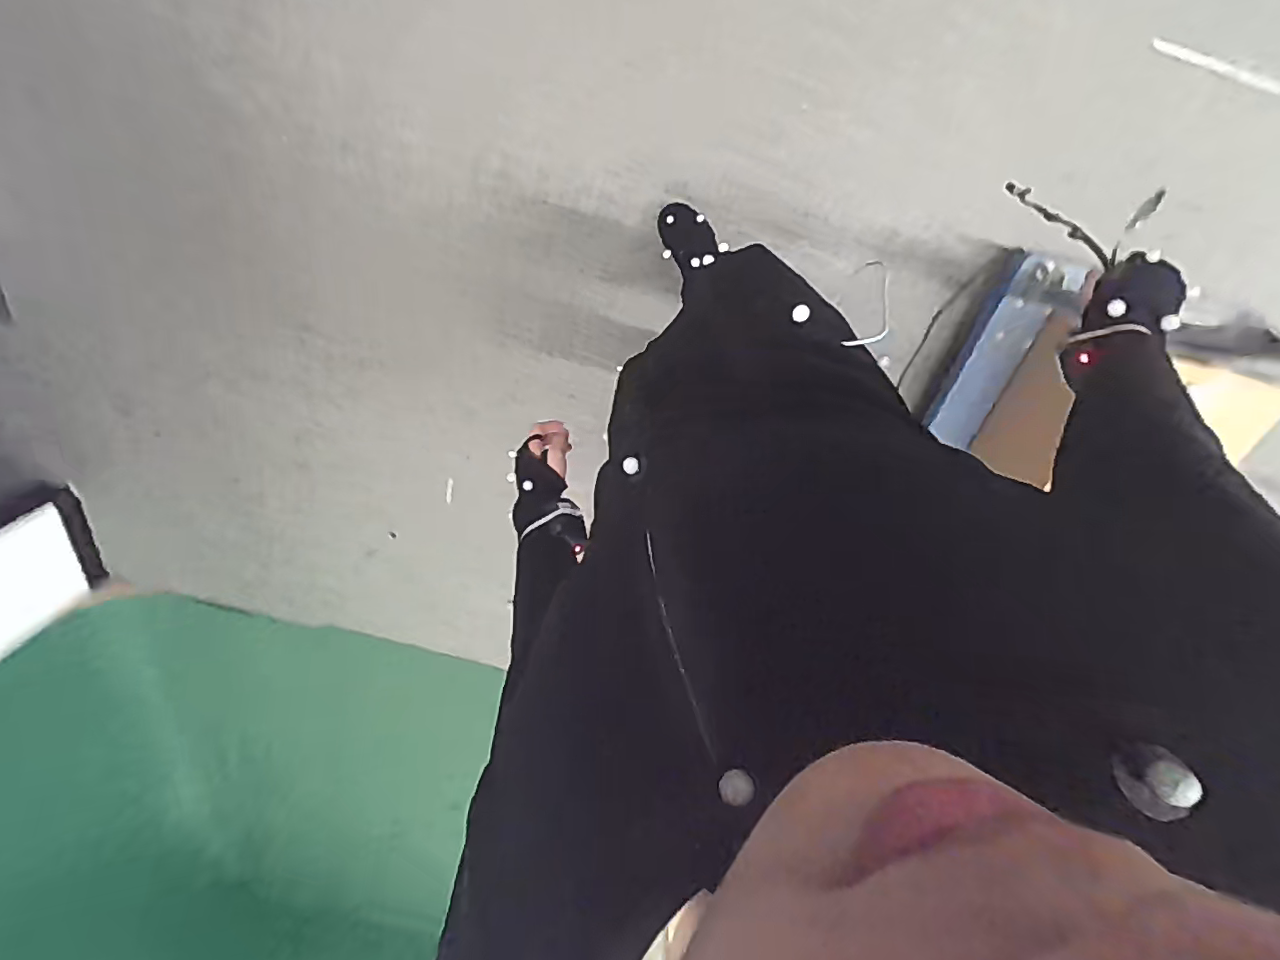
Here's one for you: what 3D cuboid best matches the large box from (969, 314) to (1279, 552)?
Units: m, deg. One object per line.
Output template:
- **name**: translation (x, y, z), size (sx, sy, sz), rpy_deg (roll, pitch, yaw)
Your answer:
- **large box**: translation (1.043, -0.113, 1.215), size (0.320, 0.320, 0.408), rpy_deg (13, 123, -1)
